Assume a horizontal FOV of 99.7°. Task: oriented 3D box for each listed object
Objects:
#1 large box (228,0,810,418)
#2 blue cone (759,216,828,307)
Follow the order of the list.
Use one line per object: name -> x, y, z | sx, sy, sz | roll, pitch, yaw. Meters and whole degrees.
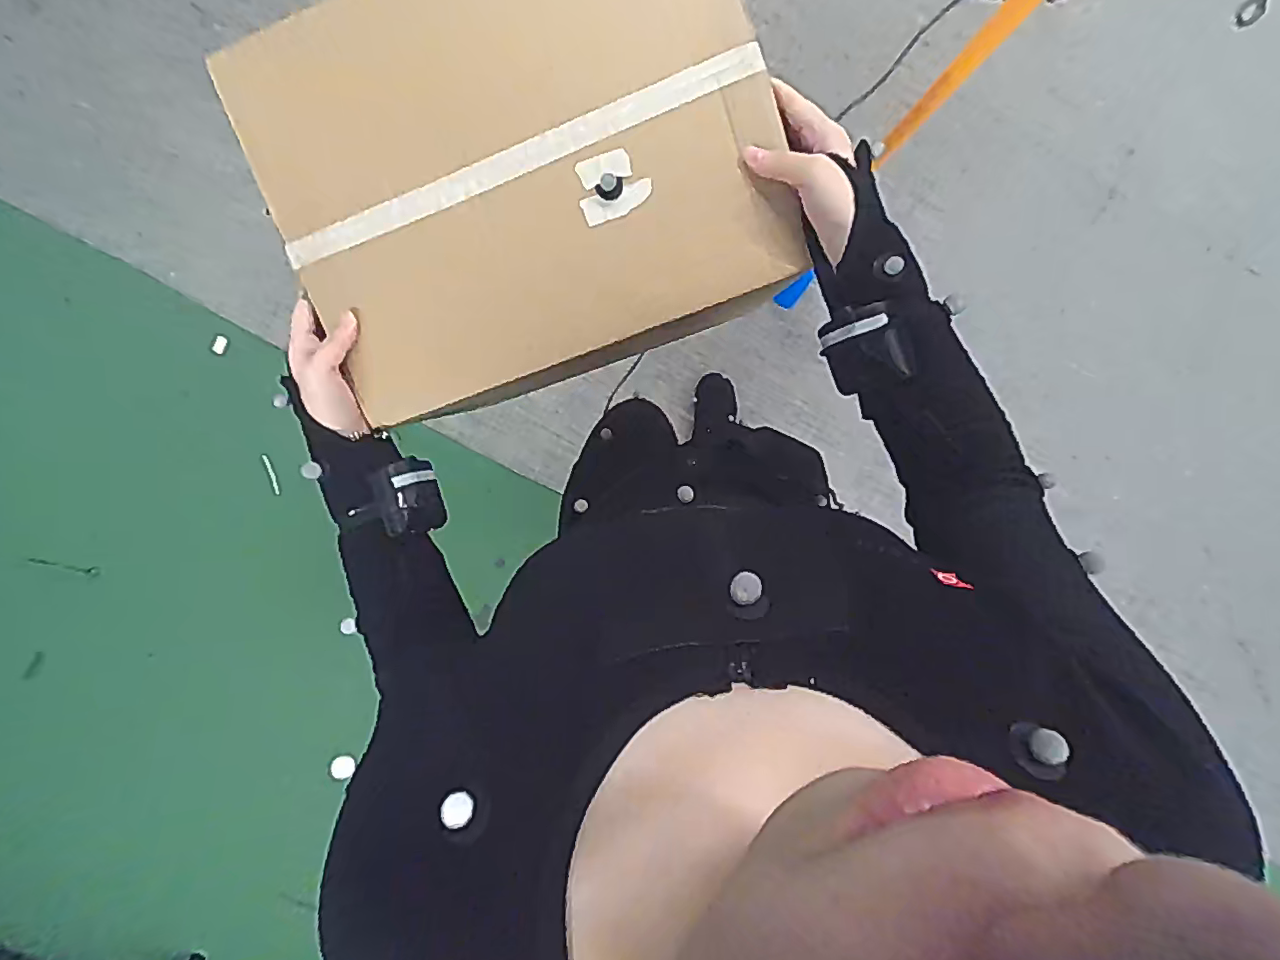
large box -> -0.092, -0.287, 0.582 | 0.408, 0.320, 0.320 | -20, 100, 6
blue cone -> 0.352, -0.532, 1.217 | 0.193, 0.380, 0.192 | 36, 100, -4
